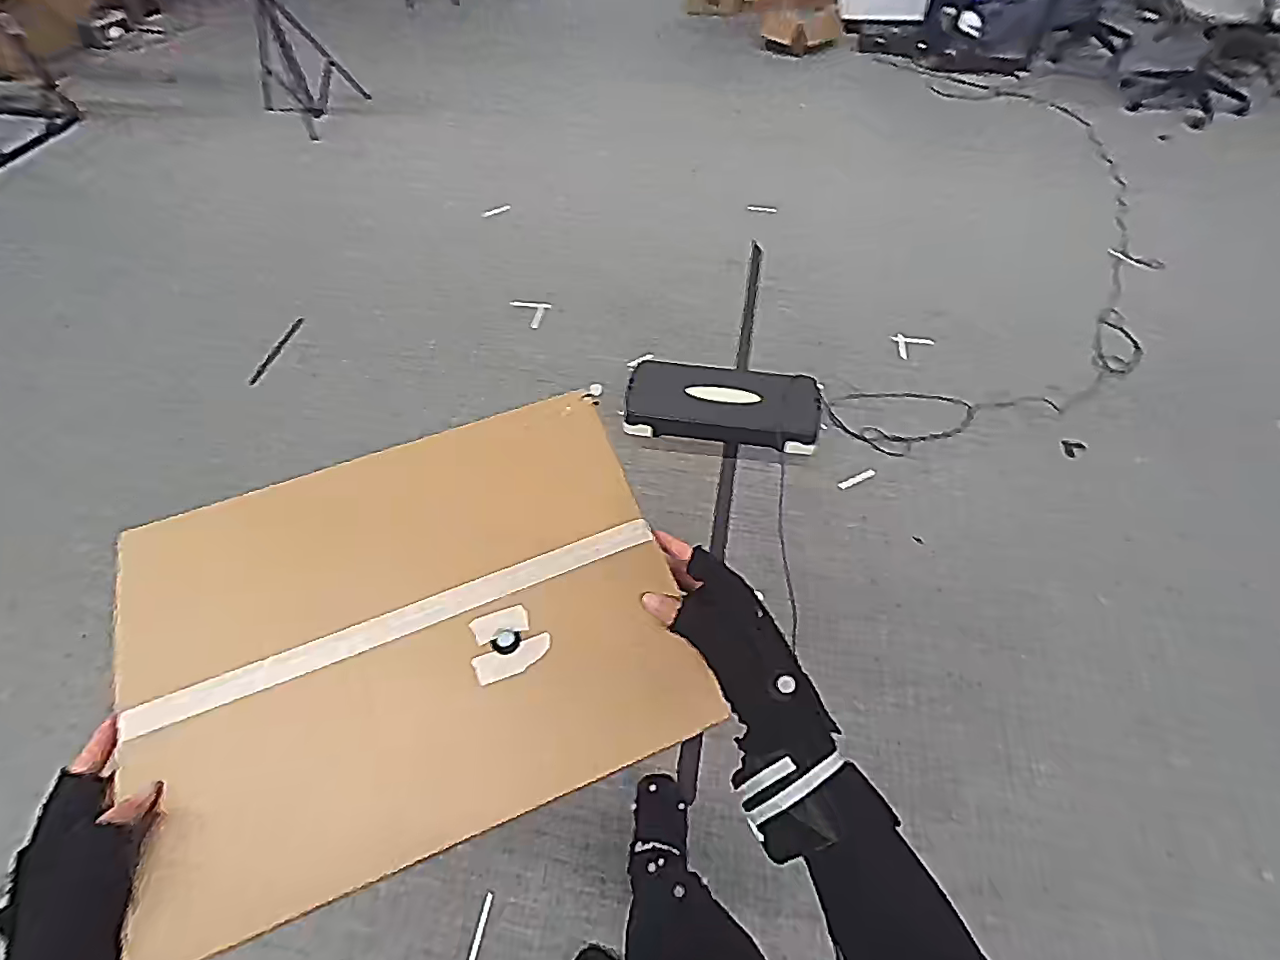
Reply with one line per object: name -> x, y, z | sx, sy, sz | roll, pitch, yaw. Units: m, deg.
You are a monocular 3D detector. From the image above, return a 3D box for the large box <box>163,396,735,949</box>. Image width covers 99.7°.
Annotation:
large box -> -0.169, 0.172, 0.566 | 0.408, 0.320, 0.320 | -18, 67, -11
